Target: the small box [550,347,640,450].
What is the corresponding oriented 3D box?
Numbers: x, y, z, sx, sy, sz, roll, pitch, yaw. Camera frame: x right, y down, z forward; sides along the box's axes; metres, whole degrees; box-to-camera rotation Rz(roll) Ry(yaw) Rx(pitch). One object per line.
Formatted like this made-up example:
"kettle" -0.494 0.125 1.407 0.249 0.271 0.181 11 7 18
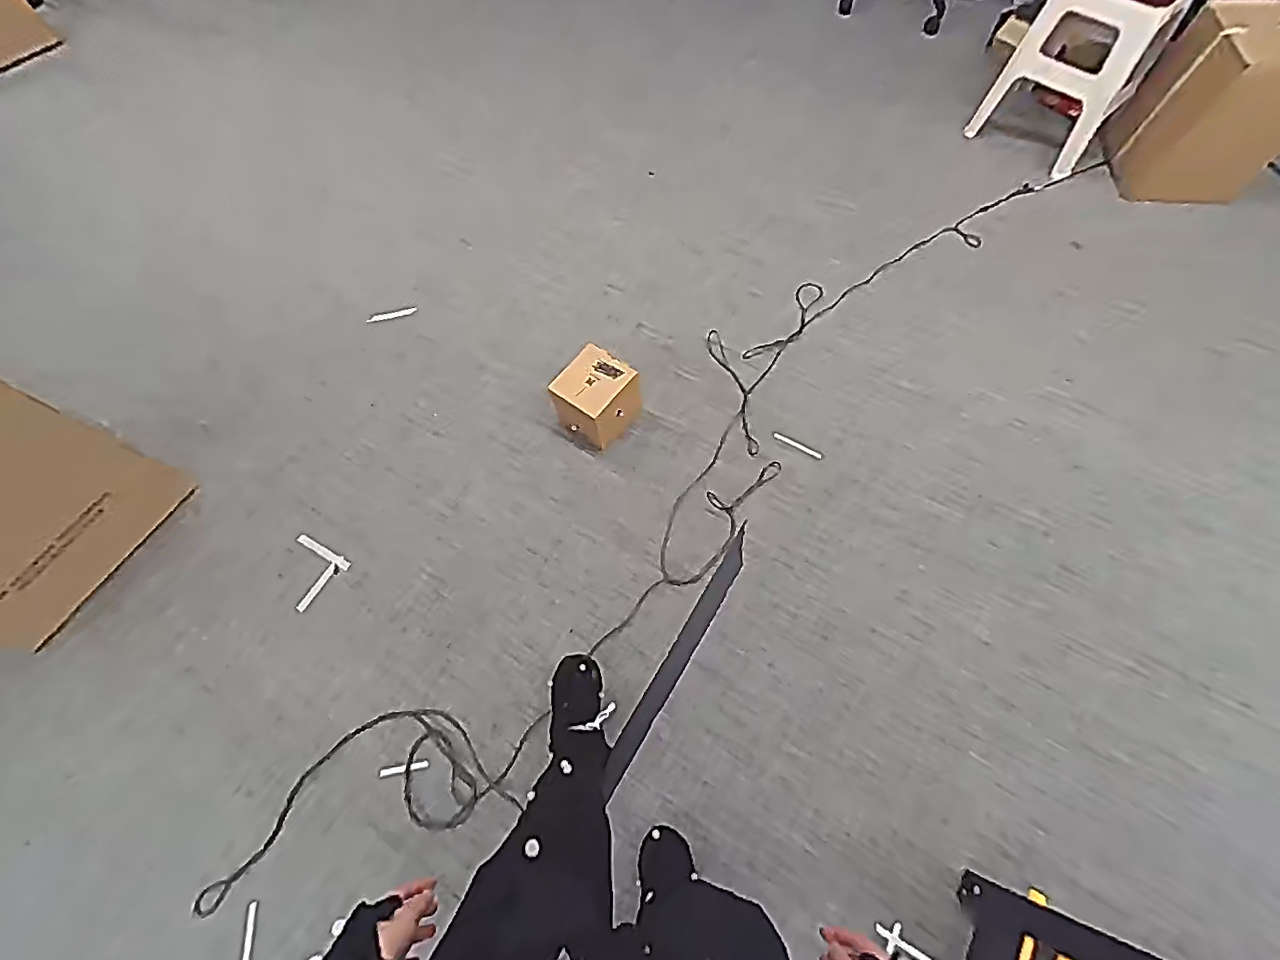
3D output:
"small box" -0.113 -0.215 1.458 0.168 0.176 0.179 35 72 18
